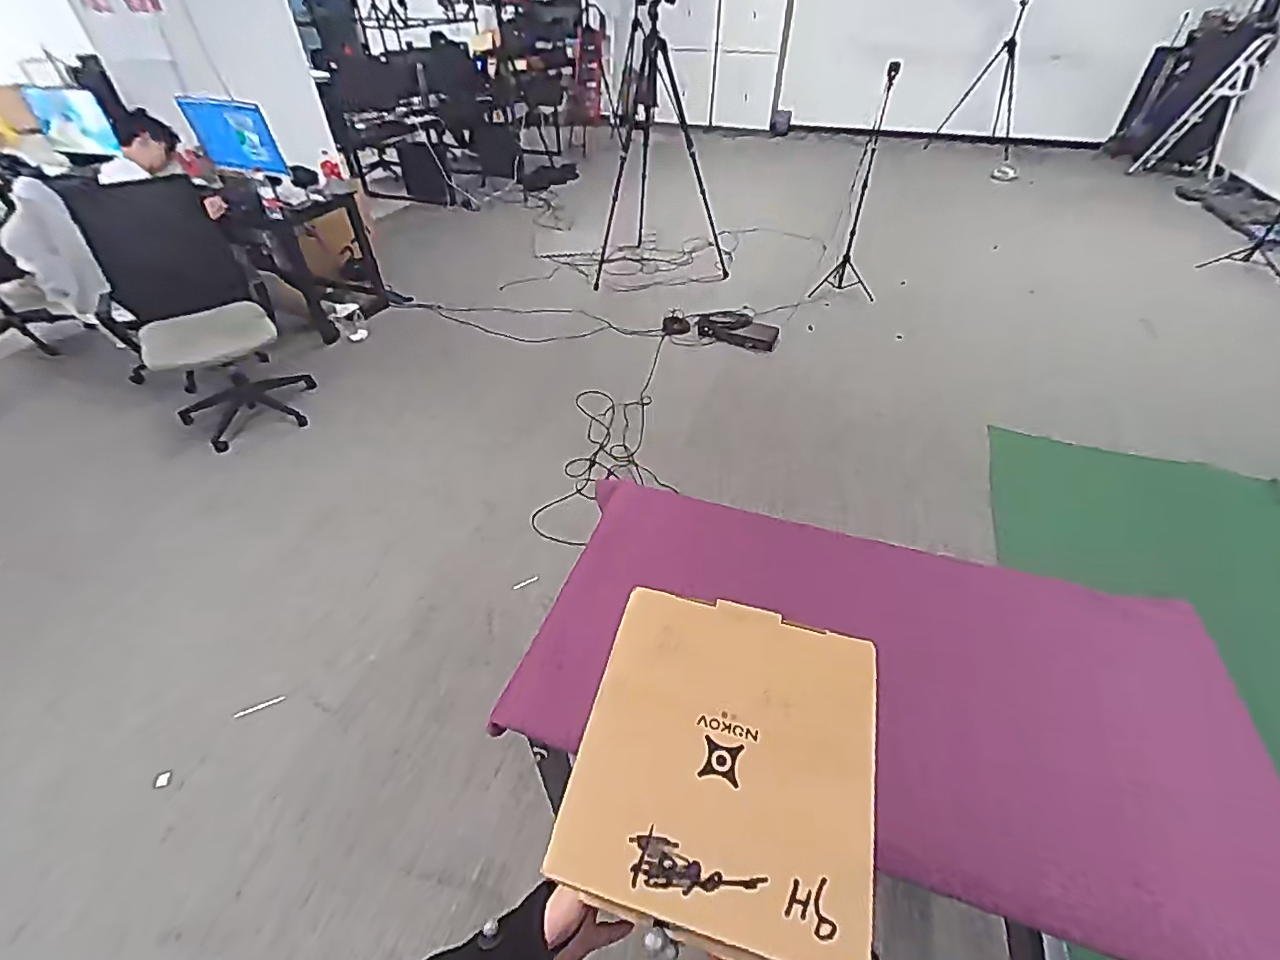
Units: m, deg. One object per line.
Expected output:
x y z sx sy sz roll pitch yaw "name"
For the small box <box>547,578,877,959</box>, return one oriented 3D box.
0.055 0.199 0.376 0.168 0.176 0.179 10 52 13 "small box"
